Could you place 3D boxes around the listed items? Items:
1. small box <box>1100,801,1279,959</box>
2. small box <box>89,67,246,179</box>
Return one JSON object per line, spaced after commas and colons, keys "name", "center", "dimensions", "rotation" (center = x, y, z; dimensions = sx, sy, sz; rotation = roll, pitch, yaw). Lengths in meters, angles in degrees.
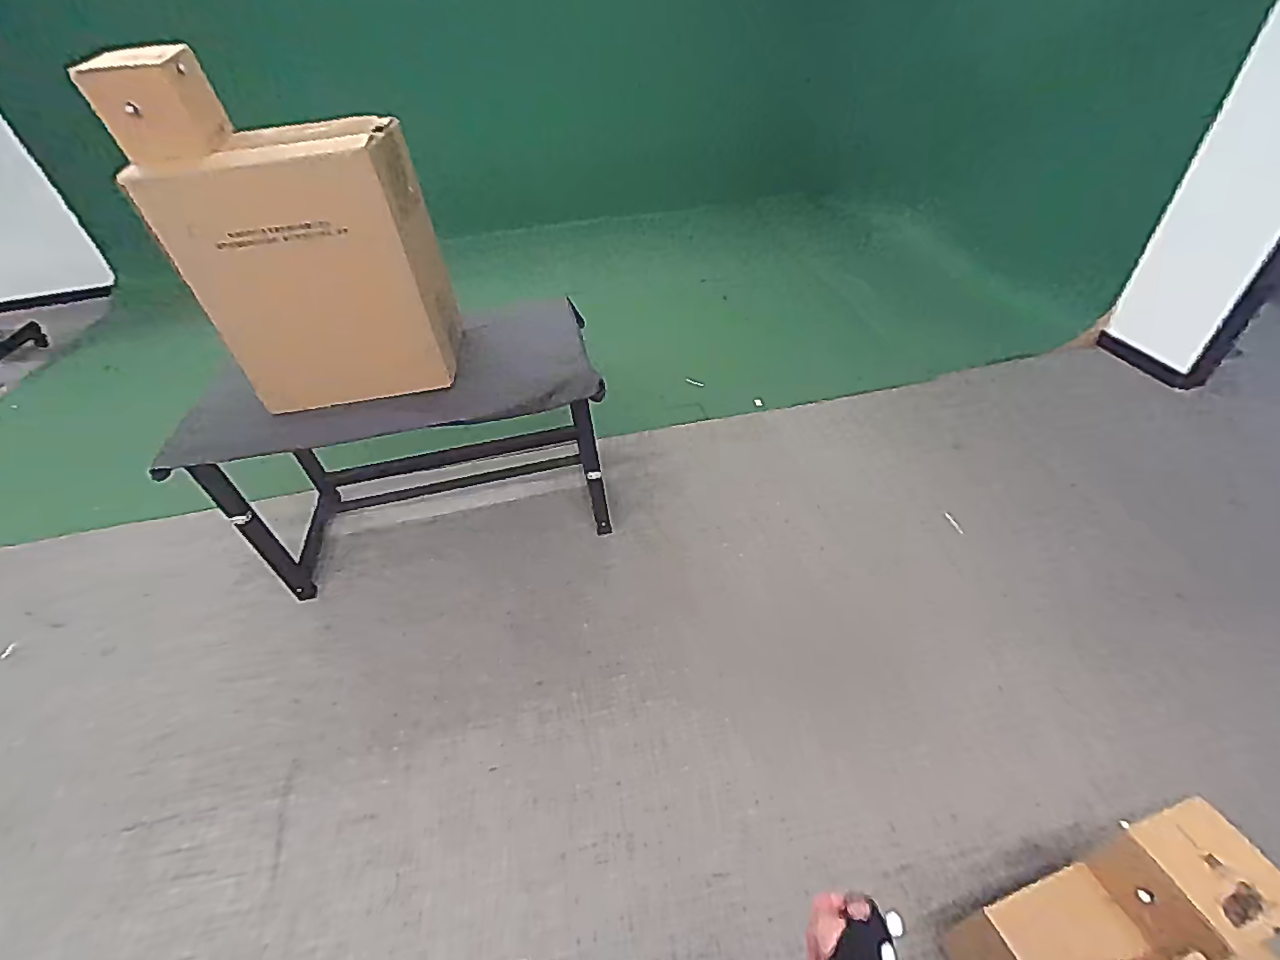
{"name": "small box", "center": [0.936, 0.680, 0.896], "dimensions": [0.168, 0.176, 0.179], "rotation": [-15, 39, -9]}
{"name": "small box", "center": [-1.051, -0.802, 1.223], "dimensions": [0.179, 0.176, 0.168], "rotation": [-10, 50, -3]}
